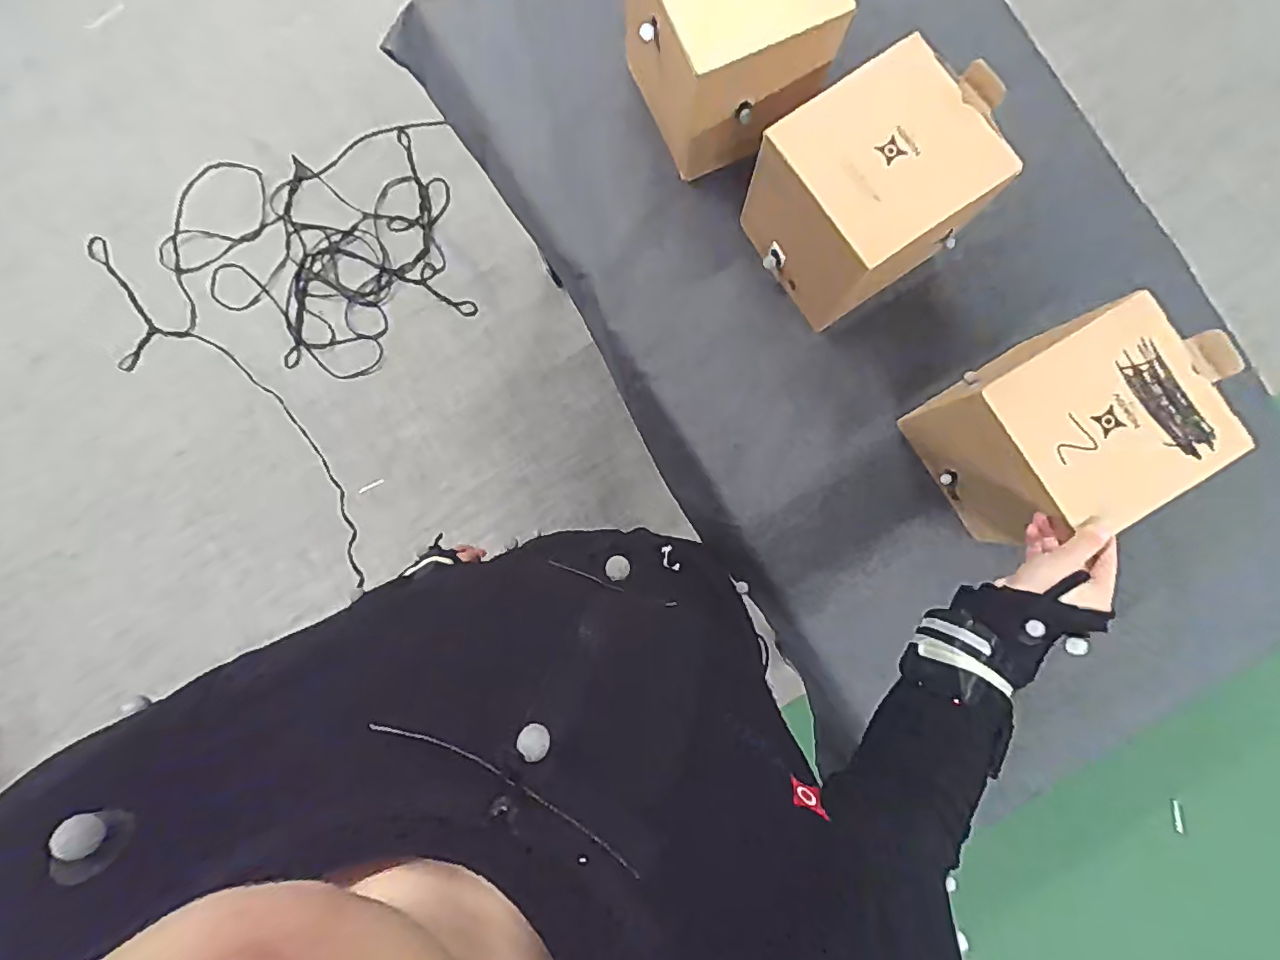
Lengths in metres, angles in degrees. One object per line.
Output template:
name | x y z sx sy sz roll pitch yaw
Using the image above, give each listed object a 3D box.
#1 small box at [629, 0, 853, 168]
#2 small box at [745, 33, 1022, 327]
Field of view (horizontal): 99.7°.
small box | 0.095 -0.480 0.590 0.168 0.176 0.179 -24 85 -1
small box | 0.235 -0.297 0.574 0.179 0.176 0.168 -35 85 -2
